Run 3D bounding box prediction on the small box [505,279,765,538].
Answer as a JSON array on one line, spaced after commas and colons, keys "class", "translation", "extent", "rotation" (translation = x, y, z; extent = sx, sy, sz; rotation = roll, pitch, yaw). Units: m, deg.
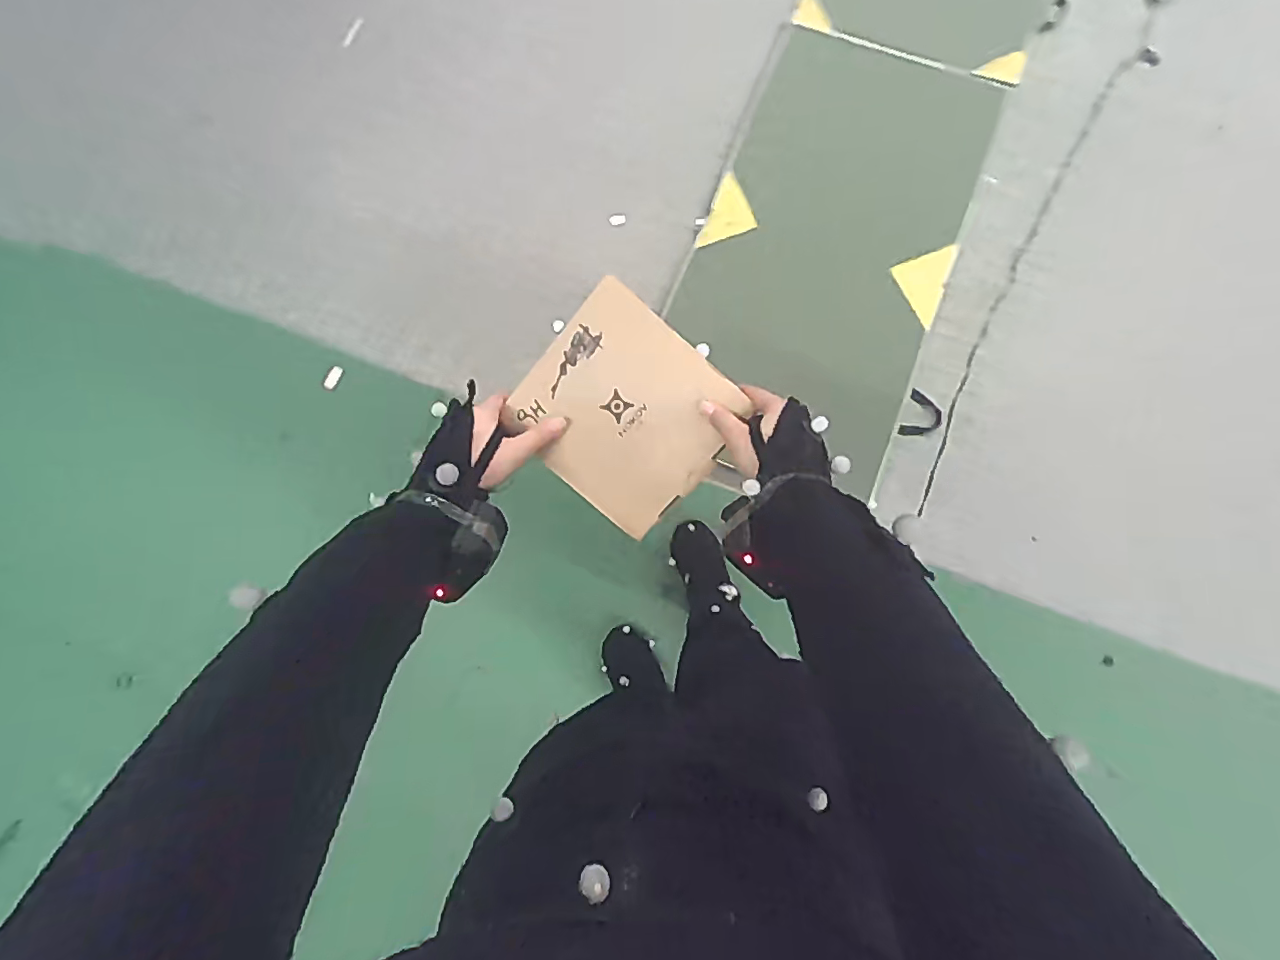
[{"class": "small box", "translation": [-0.001, -0.076, 0.557], "extent": [0.179, 0.176, 0.168], "rotation": [42, 101, -6]}]
